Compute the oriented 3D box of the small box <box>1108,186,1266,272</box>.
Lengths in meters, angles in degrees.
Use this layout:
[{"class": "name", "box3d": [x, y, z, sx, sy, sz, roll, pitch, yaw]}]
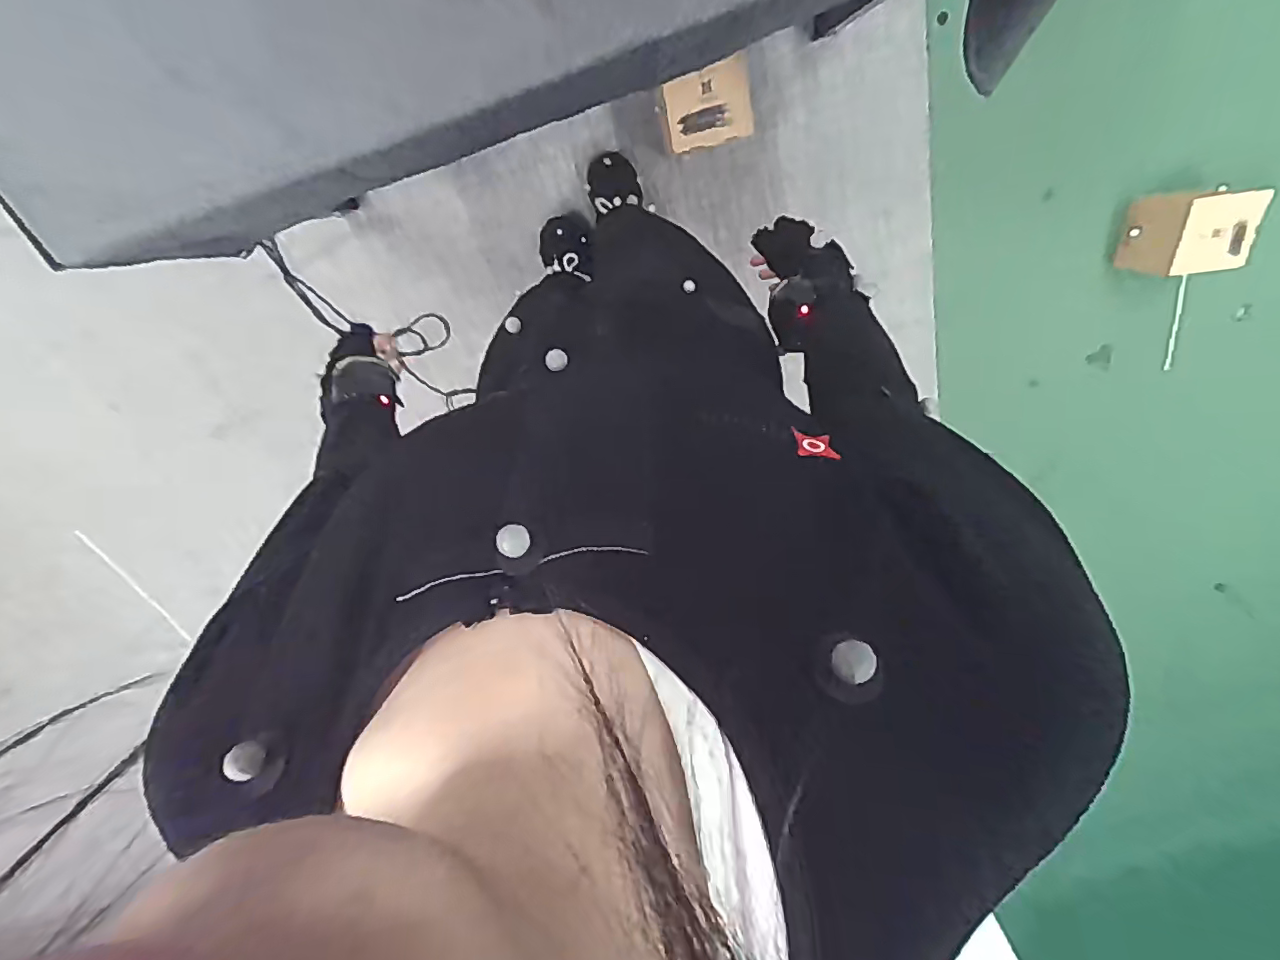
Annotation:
[{"class": "small box", "box3d": [1.297, -0.606, 1.298, 0.179, 0.176, 0.168, -7, 119, 1]}]
